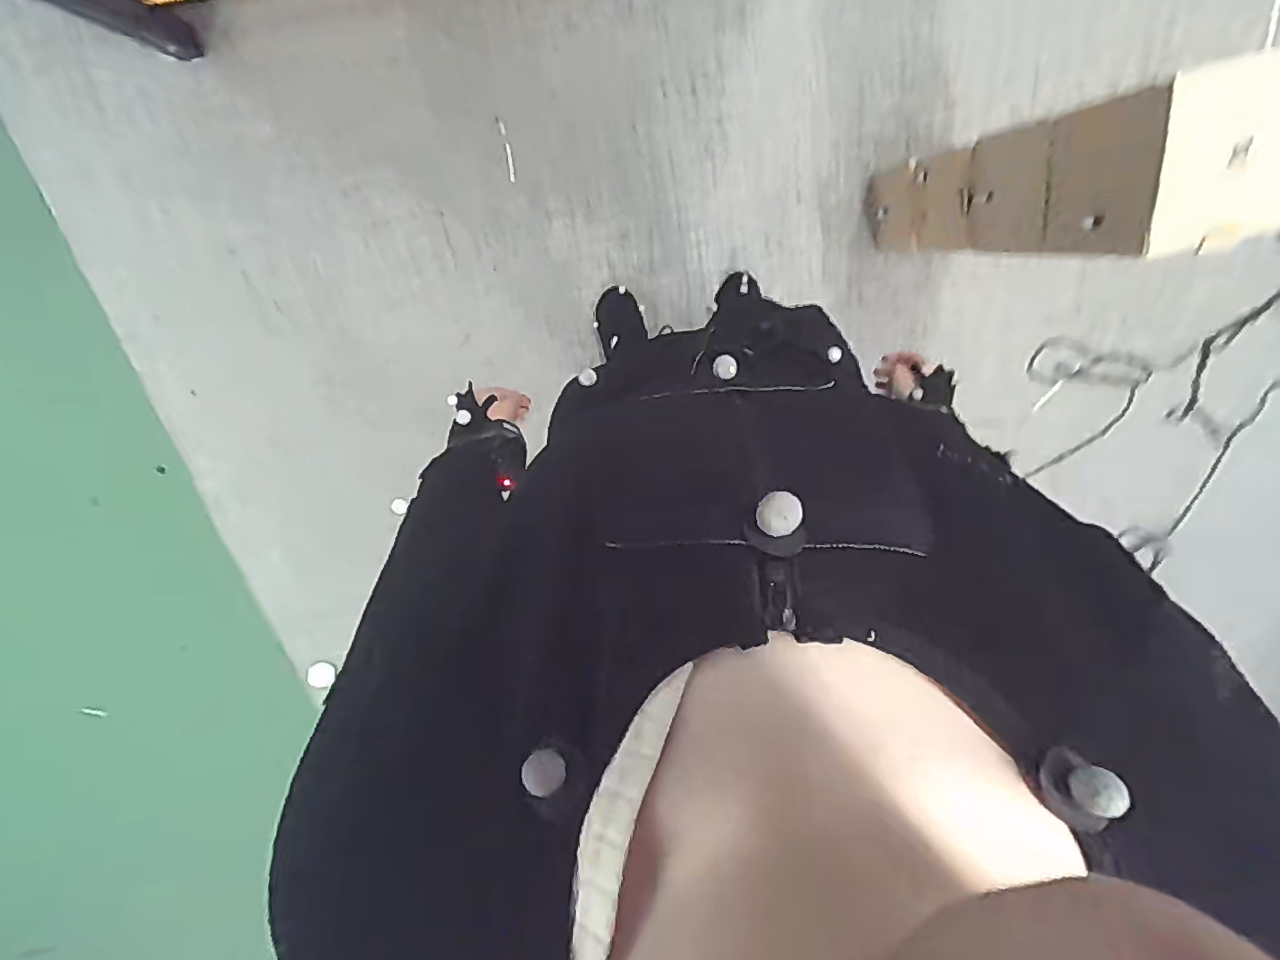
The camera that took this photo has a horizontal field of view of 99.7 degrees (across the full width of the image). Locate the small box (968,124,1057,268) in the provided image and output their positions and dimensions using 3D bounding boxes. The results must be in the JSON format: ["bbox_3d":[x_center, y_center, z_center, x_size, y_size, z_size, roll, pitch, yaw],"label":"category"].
[{"bbox_3d":[0.613,-0.425,0.799,0.168,0.176,0.179,-12,113,3],"label":"small box"}]

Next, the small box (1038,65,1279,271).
[{"bbox_3d":[0.620,-0.361,0.649,0.168,0.176,0.179,-11,112,3],"label":"small box"}]

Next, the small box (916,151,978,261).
[{"bbox_3d":[0.607,-0.487,0.950,0.179,0.176,0.168,-12,113,3],"label":"small box"}]

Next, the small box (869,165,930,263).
[{"bbox_3d":[0.592,-0.549,1.102,0.179,0.176,0.168,-12,112,5],"label":"small box"}]
